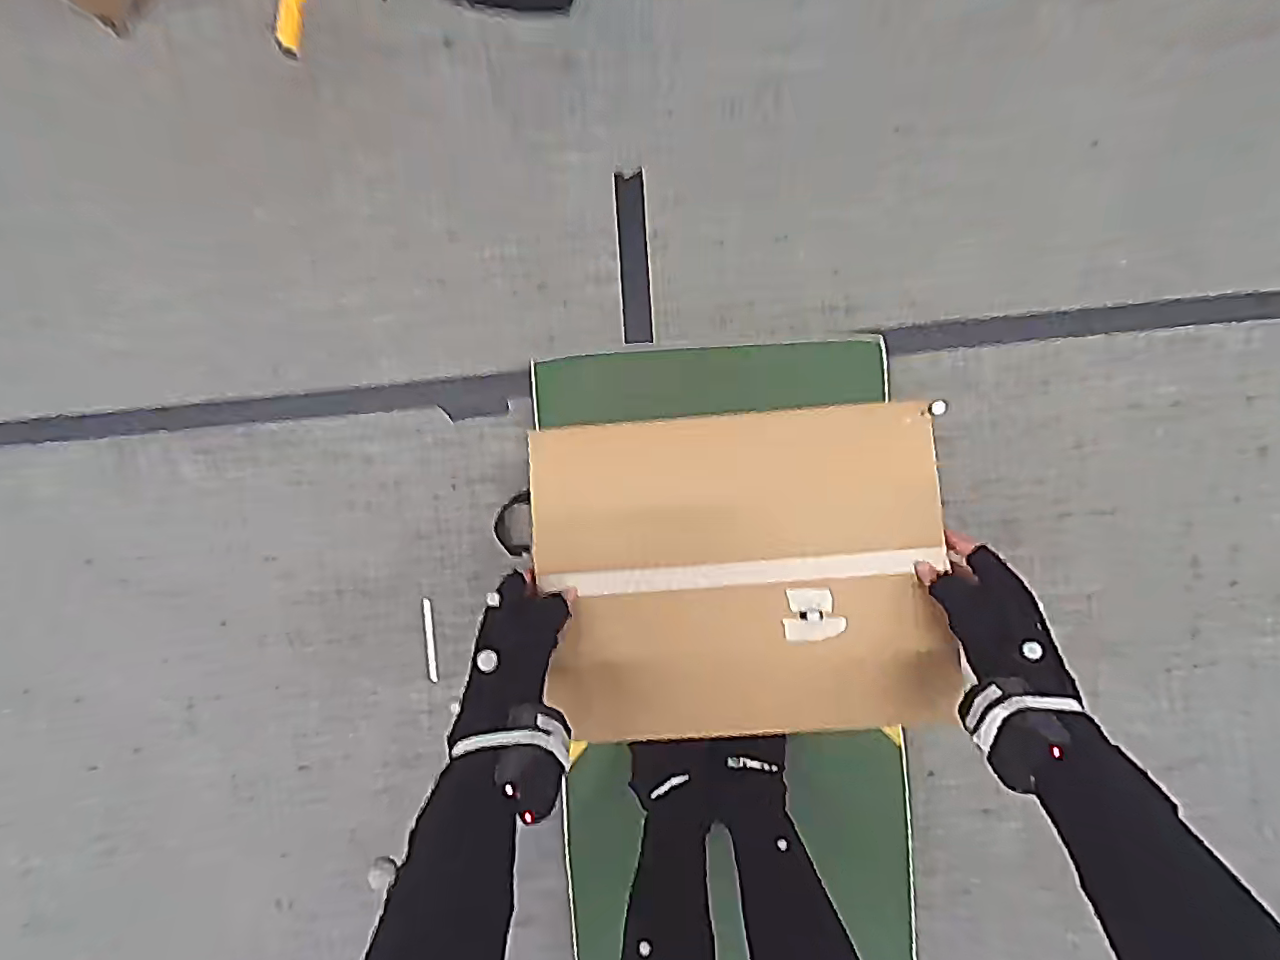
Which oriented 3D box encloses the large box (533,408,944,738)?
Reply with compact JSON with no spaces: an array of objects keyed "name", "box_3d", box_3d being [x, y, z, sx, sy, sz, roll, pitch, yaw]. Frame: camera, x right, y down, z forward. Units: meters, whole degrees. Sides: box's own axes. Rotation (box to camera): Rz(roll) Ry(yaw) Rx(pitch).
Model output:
[{"name":"large box","box_3d":[0.100,0.108,0.707,0.408,0.320,0.320,-5,86,2]}]
